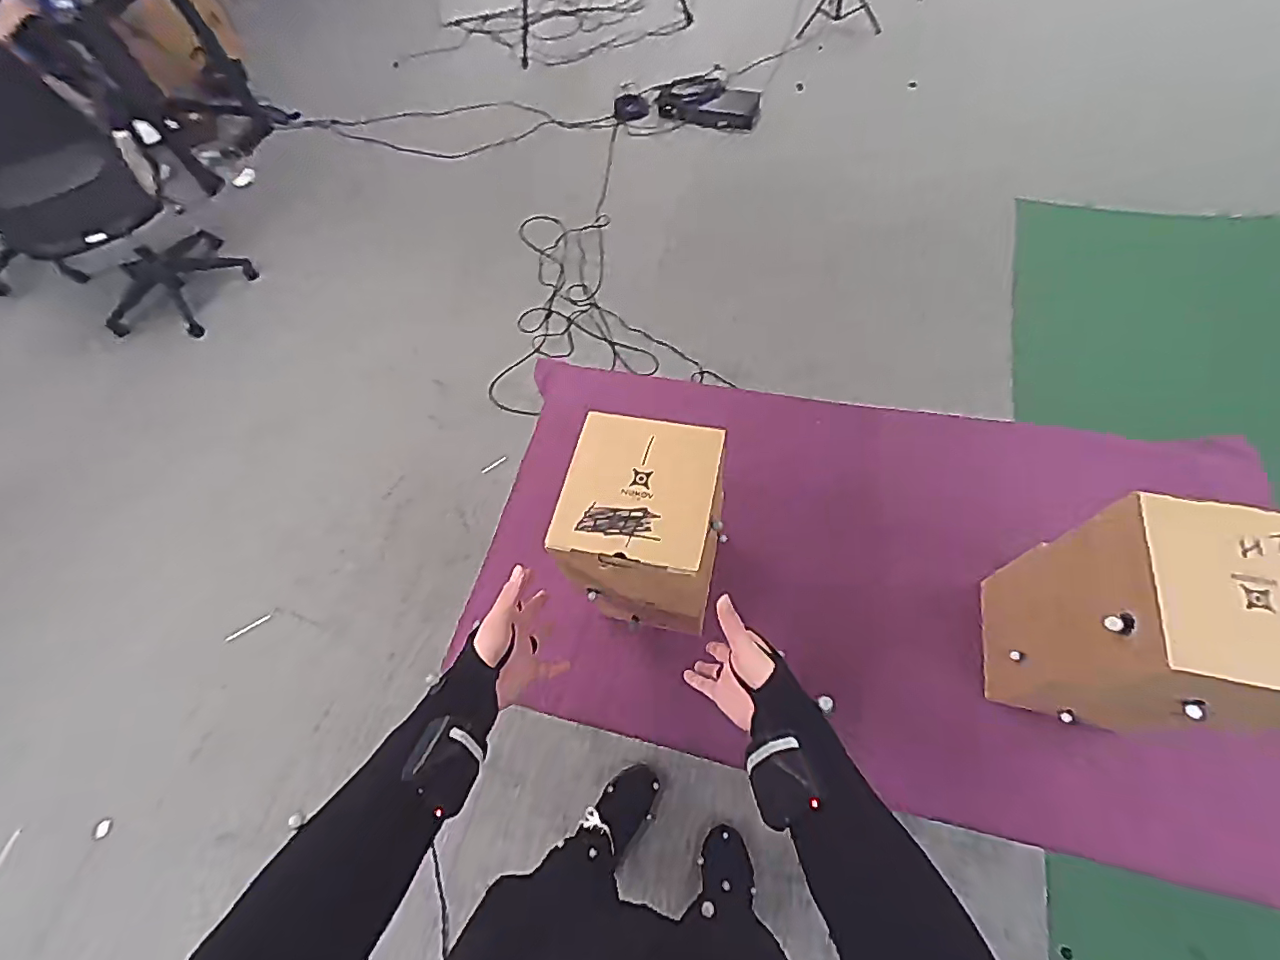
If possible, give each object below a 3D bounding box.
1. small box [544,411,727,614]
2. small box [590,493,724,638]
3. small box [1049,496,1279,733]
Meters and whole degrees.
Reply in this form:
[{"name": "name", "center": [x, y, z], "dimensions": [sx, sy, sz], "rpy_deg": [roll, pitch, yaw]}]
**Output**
[{"name": "small box", "center": [0.006, 0.045, 0.646], "dimensions": [0.168, 0.176, 0.179], "rpy_deg": [10, 62, 11]}, {"name": "small box", "center": [0.023, 0.114, 0.794], "dimensions": [0.168, 0.176, 0.179], "rpy_deg": [10, 64, 11]}, {"name": "small box", "center": [0.551, 0.142, 0.543], "dimensions": [0.168, 0.176, 0.179], "rpy_deg": [11, 63, 10]}]
